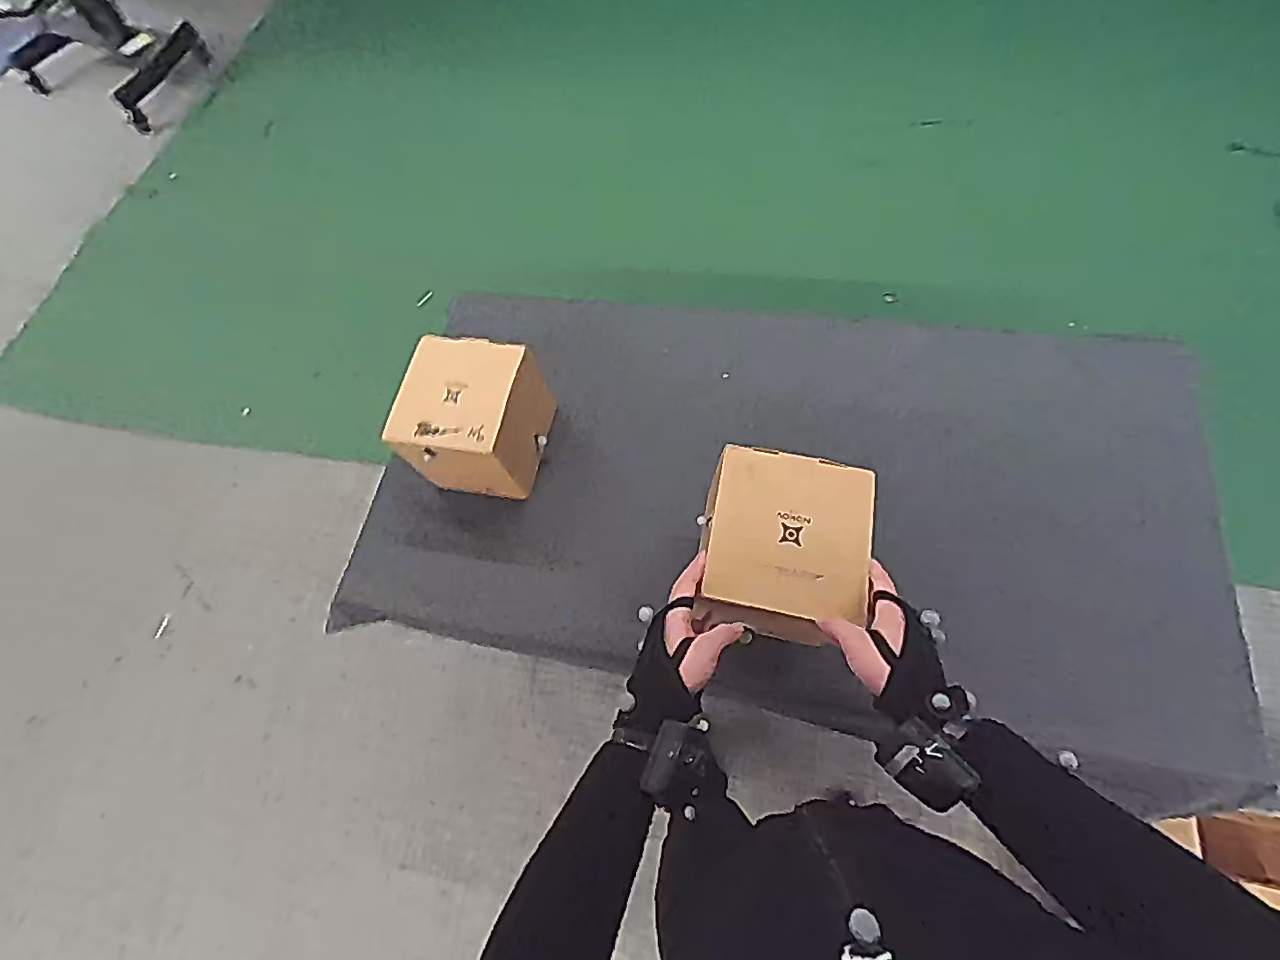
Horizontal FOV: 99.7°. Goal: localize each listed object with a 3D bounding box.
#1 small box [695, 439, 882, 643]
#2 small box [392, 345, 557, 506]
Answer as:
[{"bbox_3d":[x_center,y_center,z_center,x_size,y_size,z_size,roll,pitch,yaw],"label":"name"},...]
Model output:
[{"bbox_3d":[0.161,0.078,0.623,0.168,0.176,0.179,11,69,5],"label":"small box"},{"bbox_3d":[-0.238,-0.081,0.836,0.168,0.176,0.179,8,66,11],"label":"small box"}]
